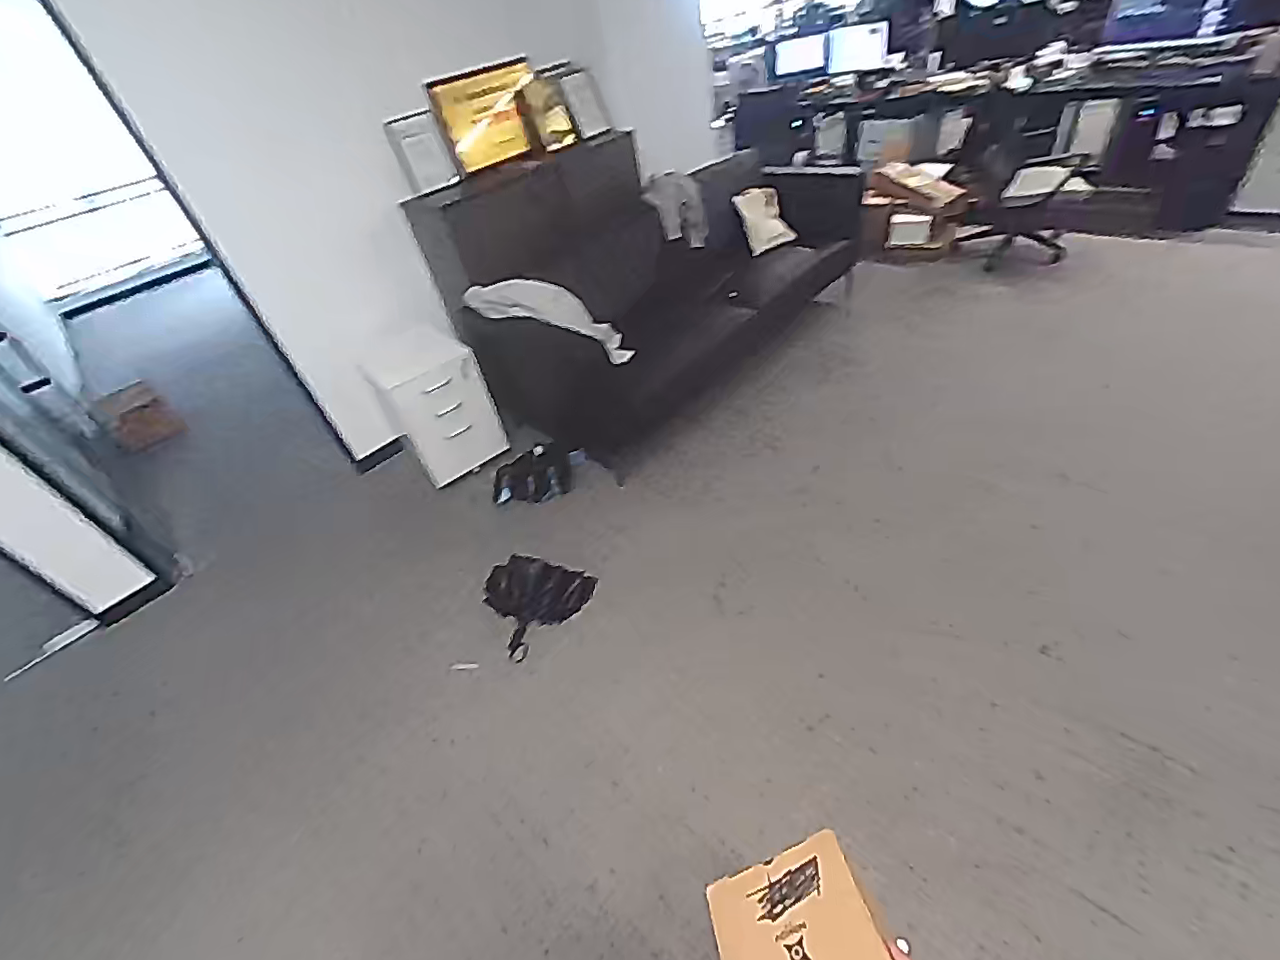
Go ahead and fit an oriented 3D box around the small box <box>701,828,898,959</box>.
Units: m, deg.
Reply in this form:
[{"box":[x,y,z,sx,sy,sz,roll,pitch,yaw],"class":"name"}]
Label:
[{"box":[0.190,0.539,0.590,0.168,0.176,0.179,-30,22,5],"class":"small box"}]
